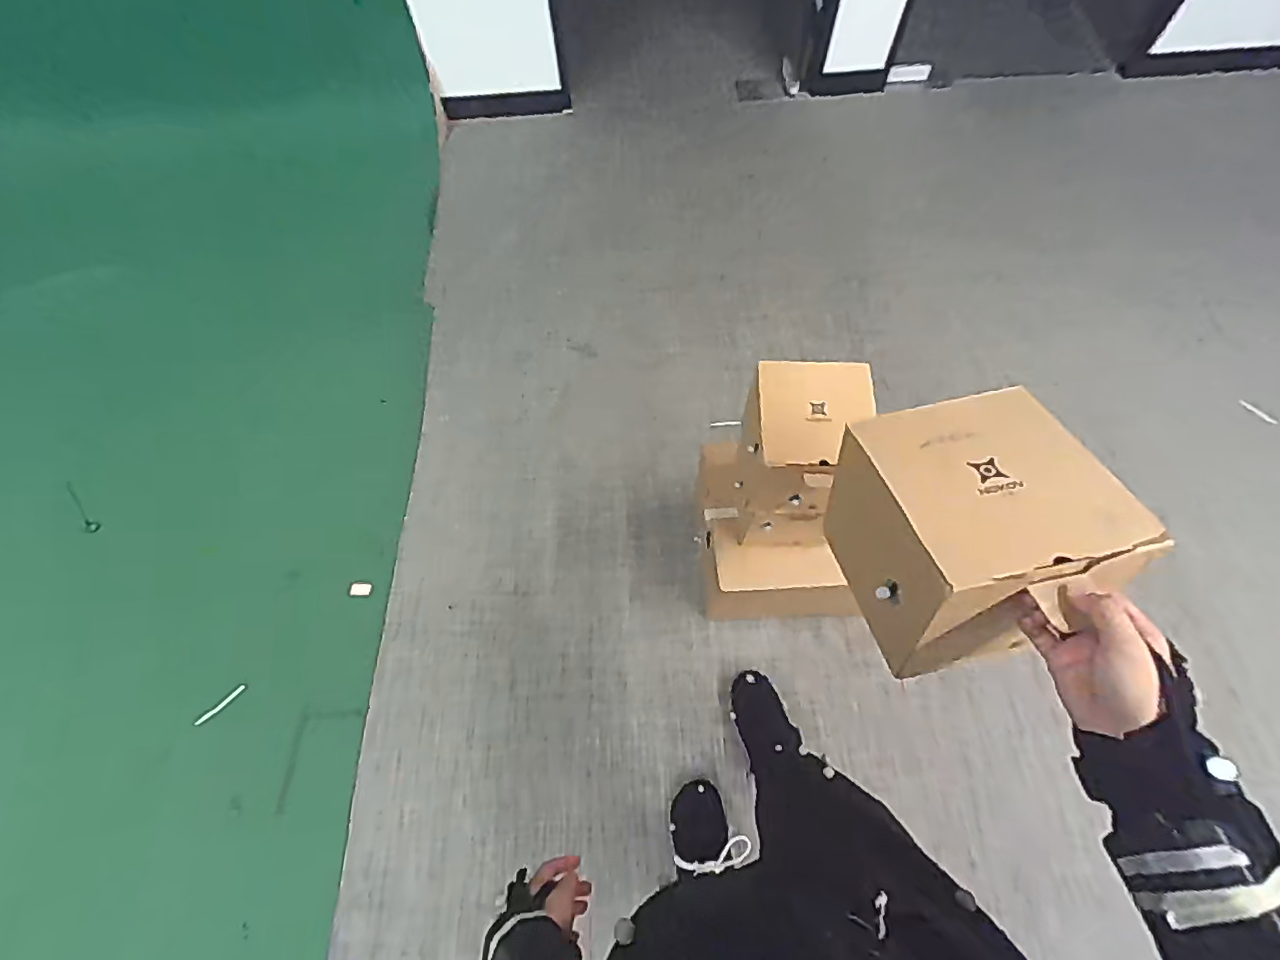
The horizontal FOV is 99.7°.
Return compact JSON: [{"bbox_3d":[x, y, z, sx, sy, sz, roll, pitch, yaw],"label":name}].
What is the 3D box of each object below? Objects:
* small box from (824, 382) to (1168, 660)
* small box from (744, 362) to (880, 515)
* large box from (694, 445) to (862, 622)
[{"bbox_3d":[0.283,0.044,0.486,0.168,0.176,0.179,-12,48,-2],"label":"small box"},{"bbox_3d":[0.256,-0.059,0.831,0.168,0.176,0.179,2,65,2],"label":"small box"},{"bbox_3d":[0.343,0.121,1.194,0.408,0.320,0.320,-3,66,-1],"label":"large box"}]
